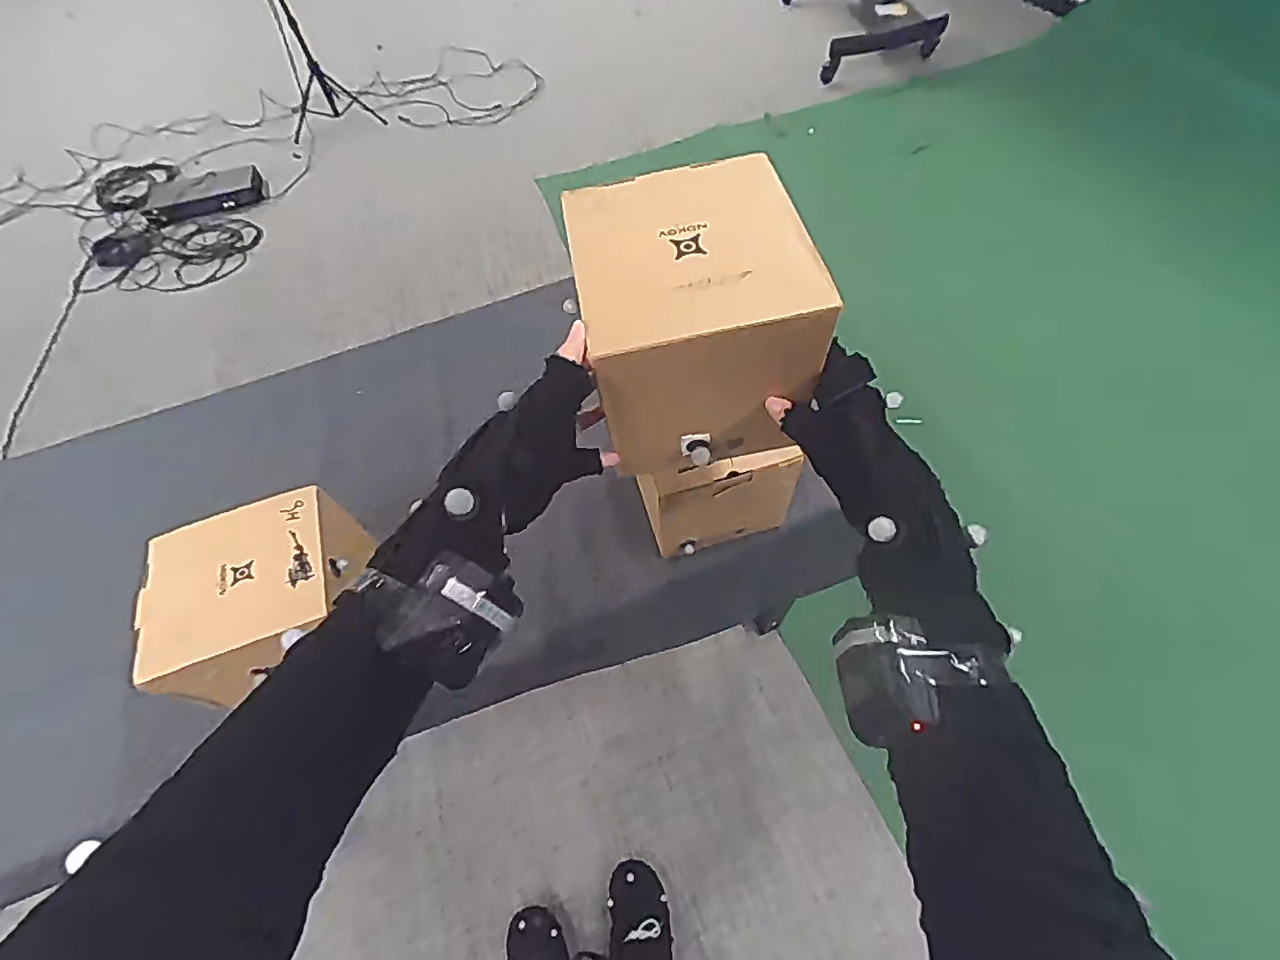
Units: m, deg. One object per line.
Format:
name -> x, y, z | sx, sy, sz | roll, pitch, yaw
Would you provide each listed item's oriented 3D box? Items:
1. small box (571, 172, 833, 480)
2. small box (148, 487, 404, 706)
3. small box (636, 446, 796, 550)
small box -> 0.042, -0.124, 0.467 | 0.168, 0.176, 0.179 | -11, 61, 0
small box -> -0.402, 0.141, 0.626 | 0.179, 0.176, 0.168 | -19, 58, -9
small box -> 0.080, -0.026, 0.697 | 0.168, 0.176, 0.179 | -15, 58, -5
